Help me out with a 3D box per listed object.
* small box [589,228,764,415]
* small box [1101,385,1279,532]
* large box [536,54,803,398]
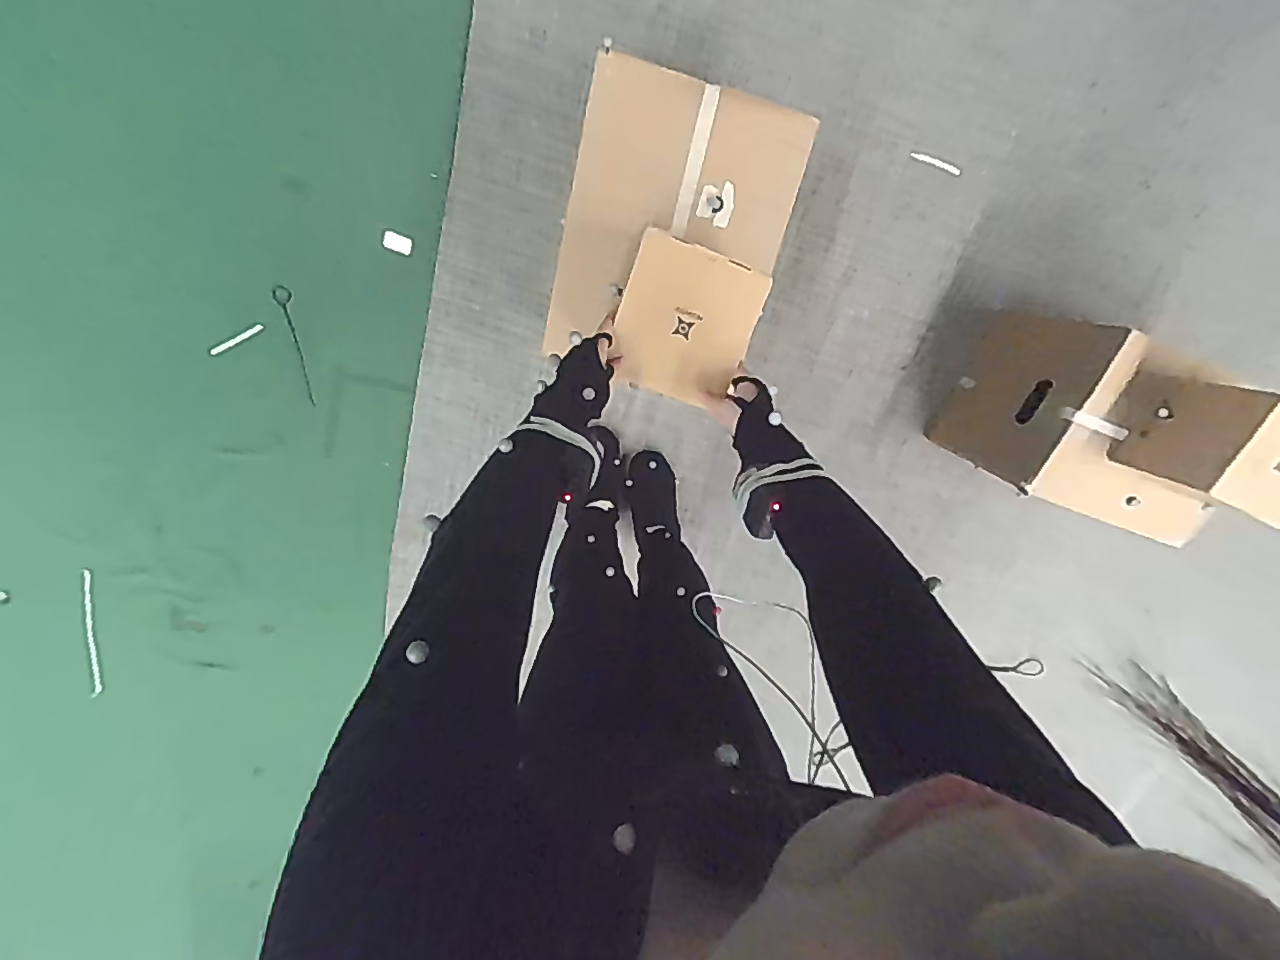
[{"bbox_3d":[0.036,-0.210,0.728,0.168,0.176,0.179,18,105,-13],"label":"small box"},{"bbox_3d":[0.941,-0.043,0.894,0.179,0.176,0.168,21,106,-13],"label":"small box"},{"bbox_3d":[0.022,-0.392,0.923,0.320,0.320,0.408,12,110,-10],"label":"large box"}]
